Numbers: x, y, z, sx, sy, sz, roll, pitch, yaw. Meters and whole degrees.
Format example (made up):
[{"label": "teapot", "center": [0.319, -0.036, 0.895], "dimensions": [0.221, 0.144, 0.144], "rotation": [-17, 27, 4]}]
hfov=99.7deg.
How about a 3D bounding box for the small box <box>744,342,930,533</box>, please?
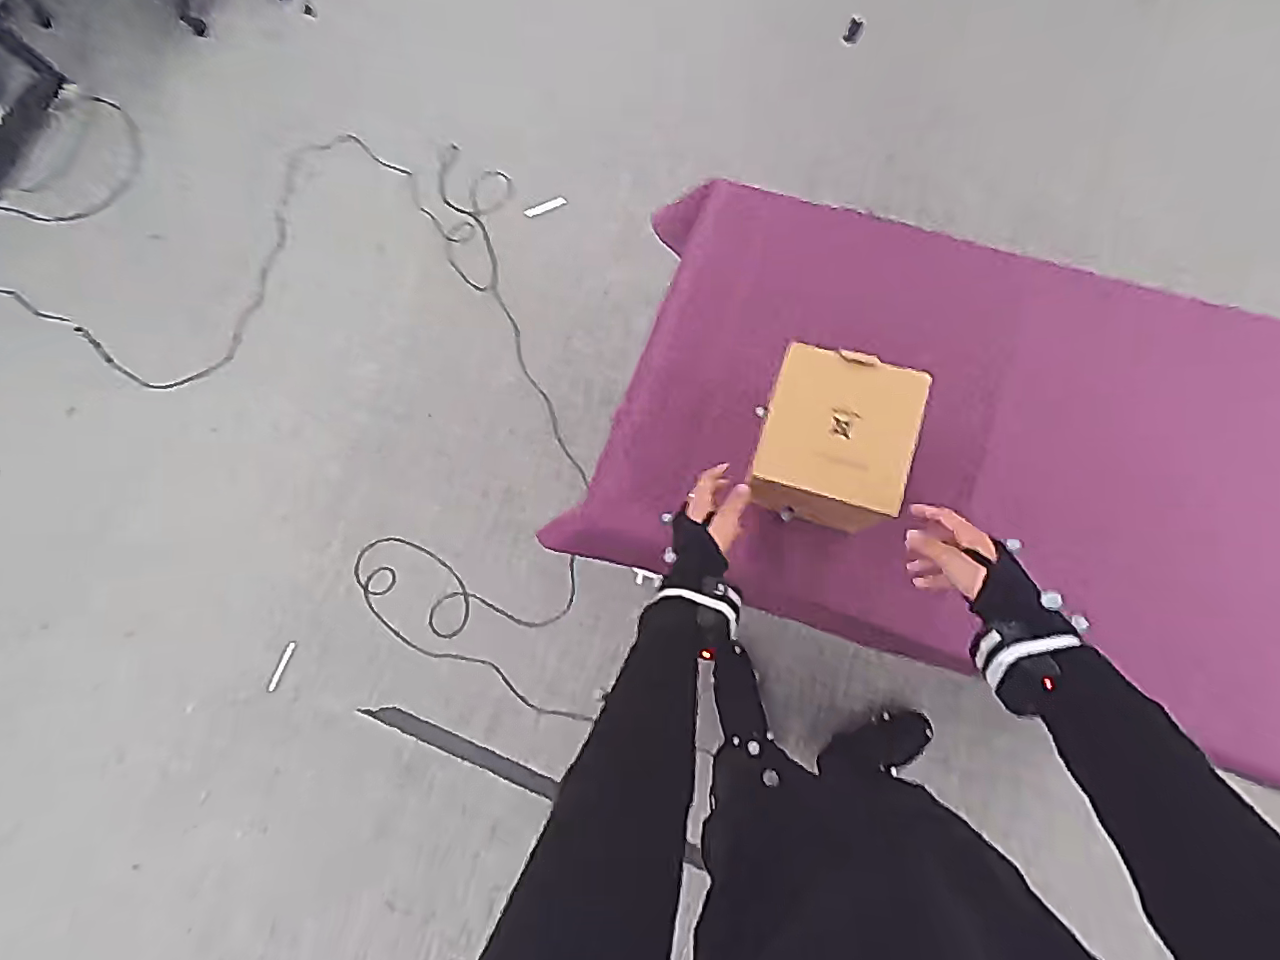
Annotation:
[{"label": "small box", "center": [0.237, -0.044, 0.694], "dimensions": [0.168, 0.176, 0.179], "rotation": [17, 80, 10]}]
